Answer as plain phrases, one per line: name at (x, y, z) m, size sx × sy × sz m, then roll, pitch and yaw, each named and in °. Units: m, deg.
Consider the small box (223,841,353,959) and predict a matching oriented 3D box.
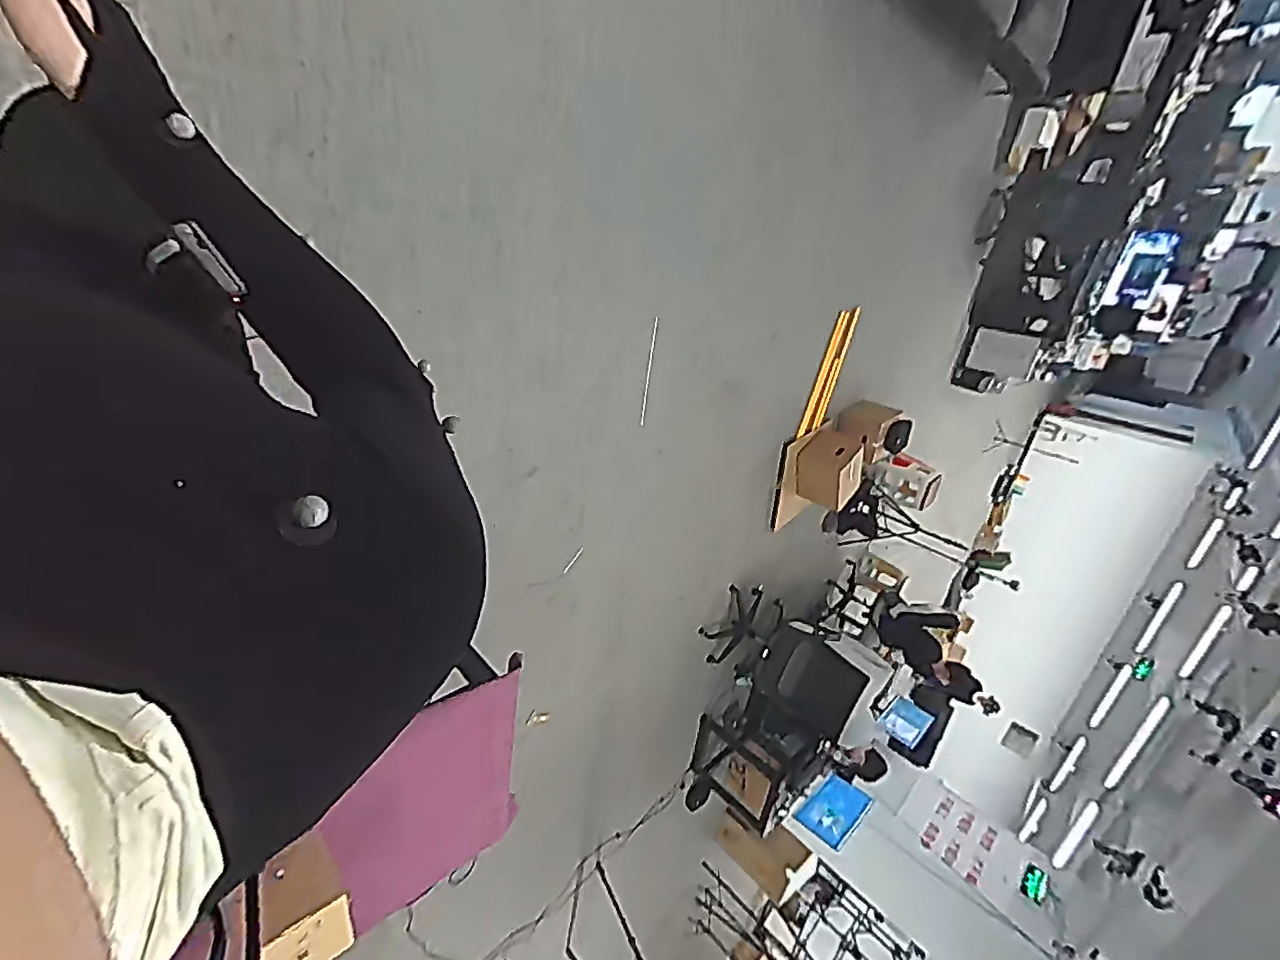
small box at (-0.676, 0.855, 1.043) m, size 0.168 × 0.176 × 0.179 m, roll -16°, pitch 122°, yaw -43°
